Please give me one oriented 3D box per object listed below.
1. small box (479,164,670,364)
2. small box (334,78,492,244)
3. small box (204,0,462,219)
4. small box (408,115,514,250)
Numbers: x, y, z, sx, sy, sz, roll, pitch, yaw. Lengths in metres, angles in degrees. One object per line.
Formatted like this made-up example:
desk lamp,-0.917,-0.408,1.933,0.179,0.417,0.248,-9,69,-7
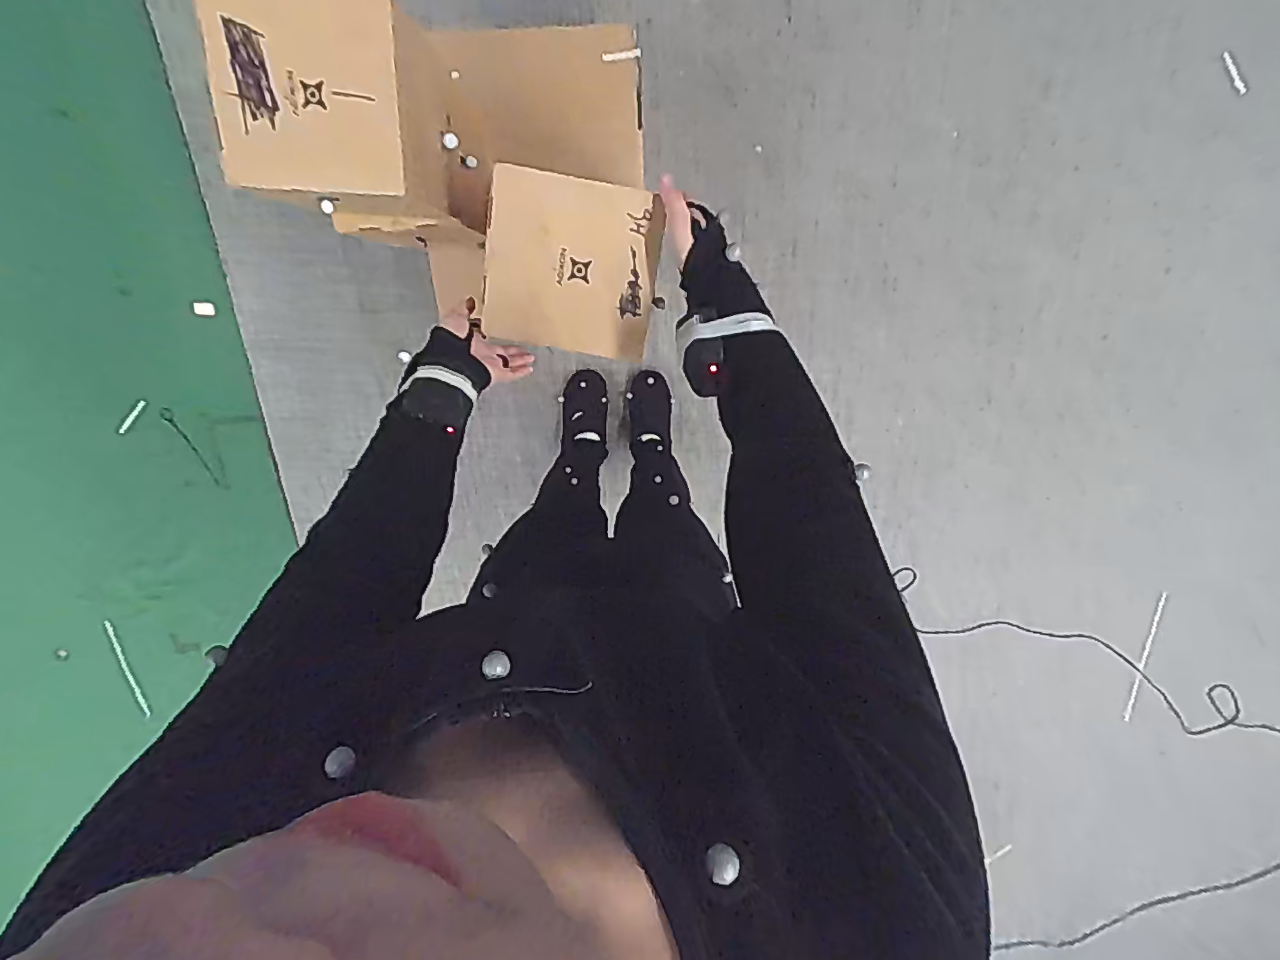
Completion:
small box,-0.069,-0.239,0.626,0.179,0.176,0.168,11,109,-3
small box,-0.306,-0.426,0.738,0.168,0.176,0.179,-1,109,0
small box,-0.306,-0.383,0.579,0.179,0.176,0.168,3,109,-1
small box,-0.303,-0.479,0.892,0.179,0.176,0.168,-3,107,1
